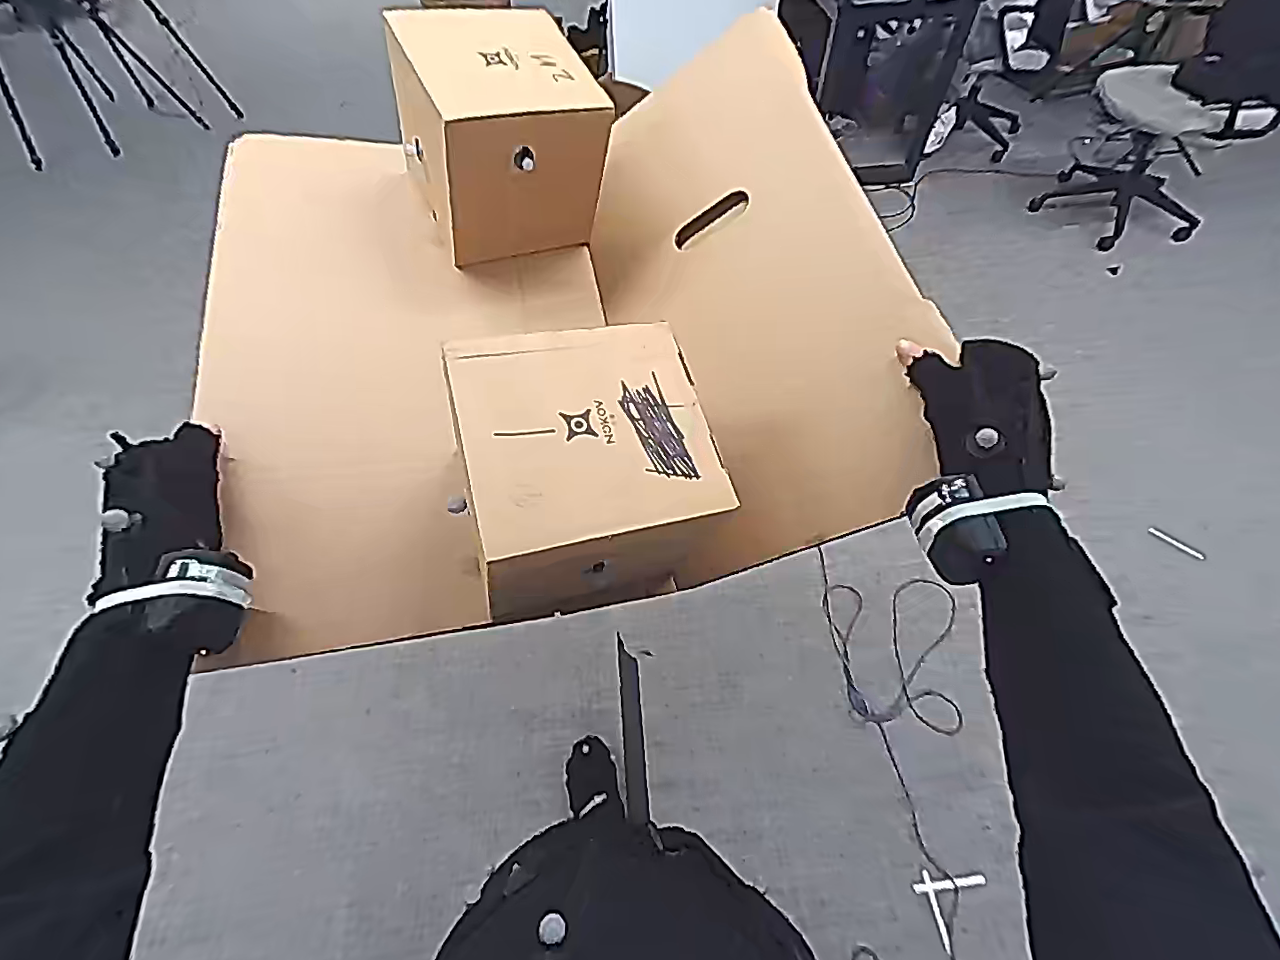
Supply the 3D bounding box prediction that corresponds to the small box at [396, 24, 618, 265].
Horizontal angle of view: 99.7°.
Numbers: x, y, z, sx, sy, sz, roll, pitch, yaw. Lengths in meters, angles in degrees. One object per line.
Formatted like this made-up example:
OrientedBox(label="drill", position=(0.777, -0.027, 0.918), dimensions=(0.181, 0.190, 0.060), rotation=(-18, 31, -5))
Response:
OrientedBox(label="small box", position=(-0.148, -0.367, 0.607), dimensions=(0.179, 0.176, 0.168), rotation=(-20, 71, -23))
